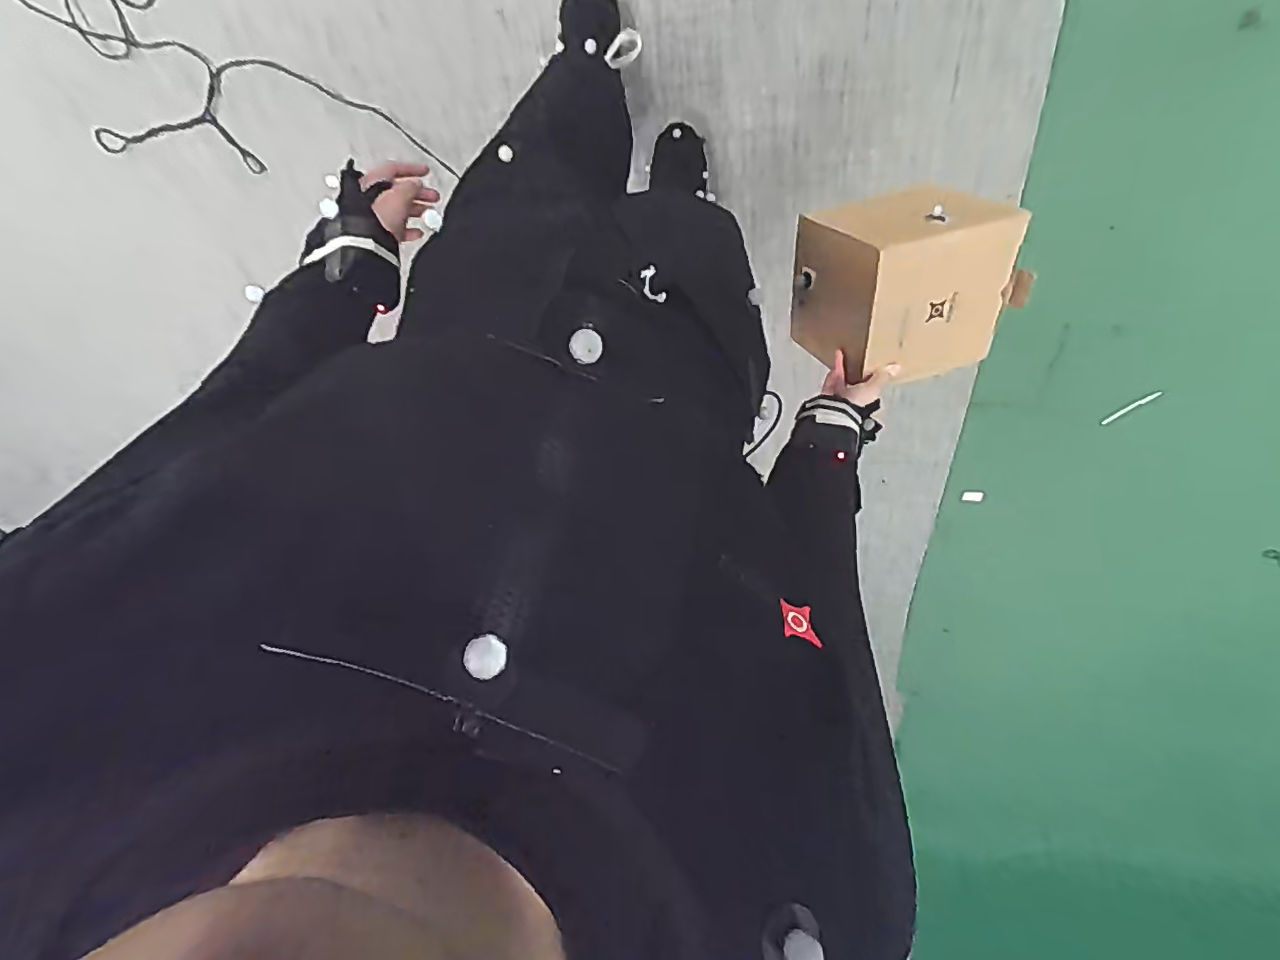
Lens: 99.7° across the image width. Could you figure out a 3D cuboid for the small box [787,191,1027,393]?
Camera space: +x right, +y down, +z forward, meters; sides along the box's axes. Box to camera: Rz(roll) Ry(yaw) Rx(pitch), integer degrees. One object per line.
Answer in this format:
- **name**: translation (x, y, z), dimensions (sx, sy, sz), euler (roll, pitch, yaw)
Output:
- **small box**: translation (0.299, -0.232, 0.648), dimensions (0.179, 0.176, 0.168), euler (-17, 129, -9)
